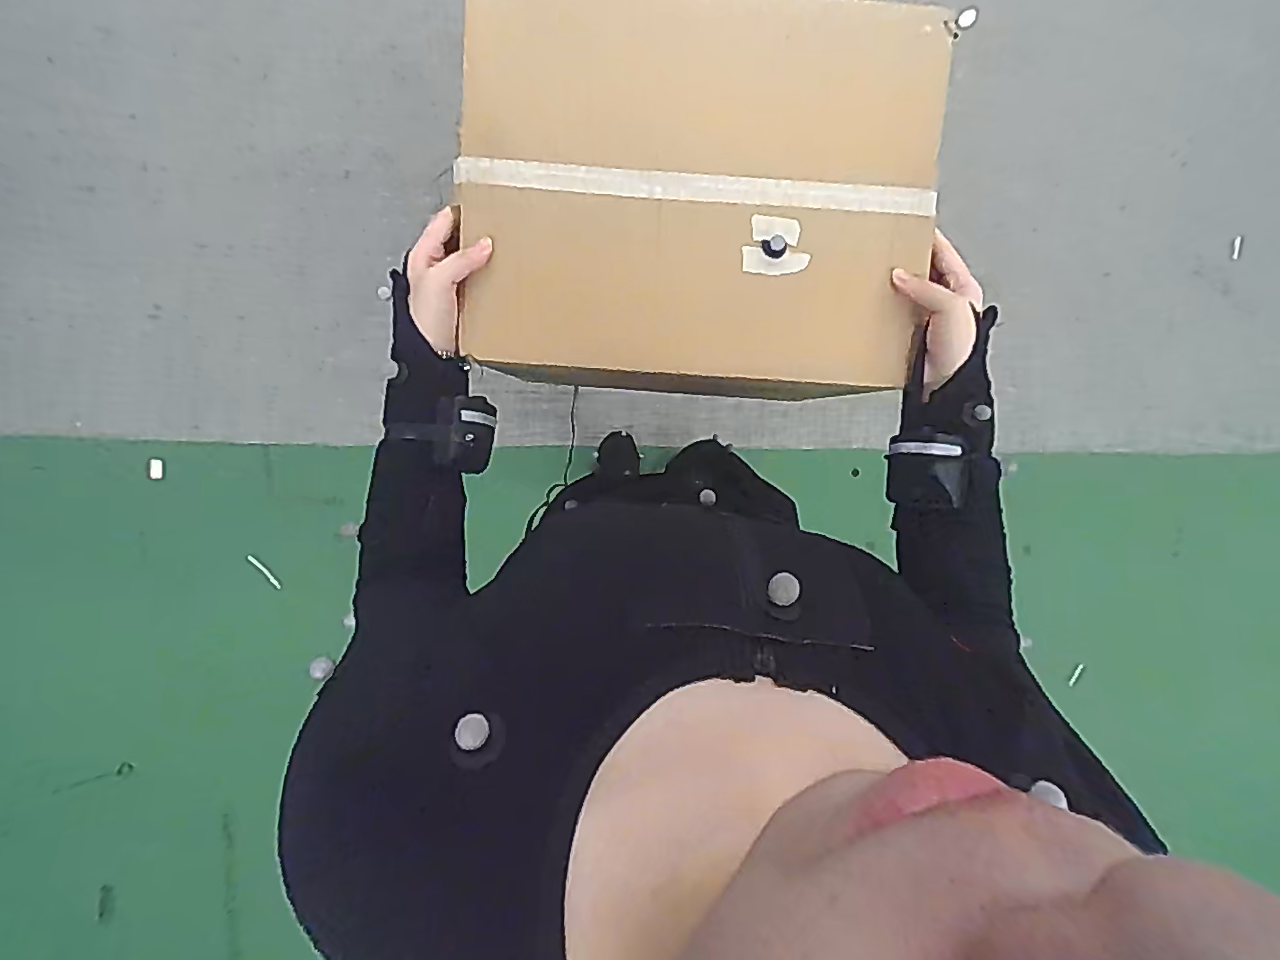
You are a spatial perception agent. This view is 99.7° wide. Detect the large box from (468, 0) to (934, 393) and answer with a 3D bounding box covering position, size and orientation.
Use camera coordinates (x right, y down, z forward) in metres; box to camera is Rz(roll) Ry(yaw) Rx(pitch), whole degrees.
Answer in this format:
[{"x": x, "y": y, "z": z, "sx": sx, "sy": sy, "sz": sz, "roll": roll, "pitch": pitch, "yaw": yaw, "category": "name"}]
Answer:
[{"x": 0.043, "y": -0.269, "z": 0.617, "sx": 0.408, "sy": 0.320, "sz": 0.320, "roll": 3, "pitch": 96, "yaw": -3, "category": "large box"}]
